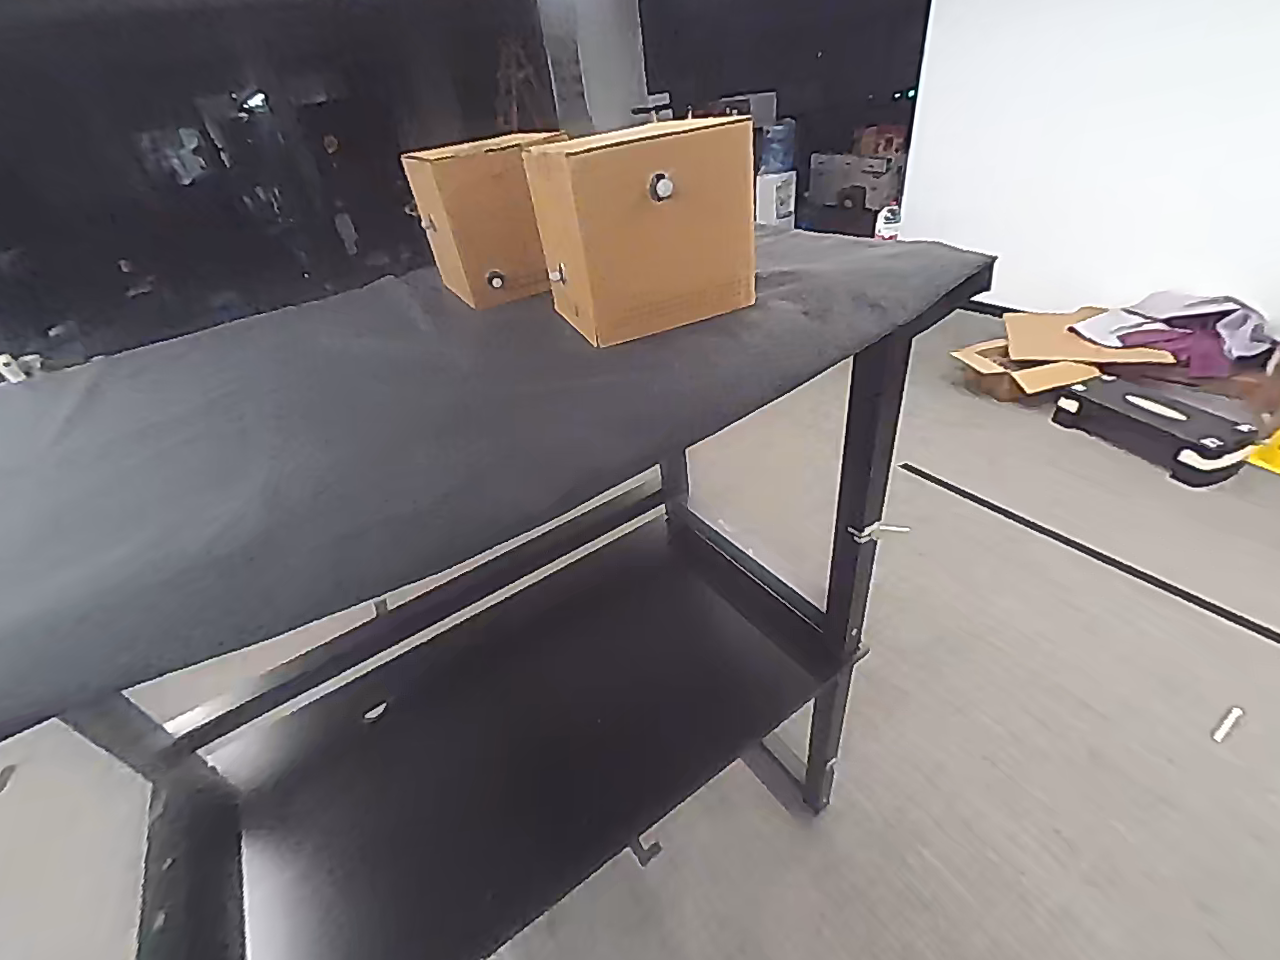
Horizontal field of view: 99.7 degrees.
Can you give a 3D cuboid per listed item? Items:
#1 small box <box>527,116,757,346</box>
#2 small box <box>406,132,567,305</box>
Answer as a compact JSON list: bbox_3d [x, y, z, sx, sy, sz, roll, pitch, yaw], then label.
[{"bbox_3d":[0.003,-0.258,0.555,0.179,0.176,0.168,-20,36,-13],"label":"small box"},{"bbox_3d":[-0.182,-0.344,0.713,0.168,0.176,0.179,-25,38,-20],"label":"small box"}]
